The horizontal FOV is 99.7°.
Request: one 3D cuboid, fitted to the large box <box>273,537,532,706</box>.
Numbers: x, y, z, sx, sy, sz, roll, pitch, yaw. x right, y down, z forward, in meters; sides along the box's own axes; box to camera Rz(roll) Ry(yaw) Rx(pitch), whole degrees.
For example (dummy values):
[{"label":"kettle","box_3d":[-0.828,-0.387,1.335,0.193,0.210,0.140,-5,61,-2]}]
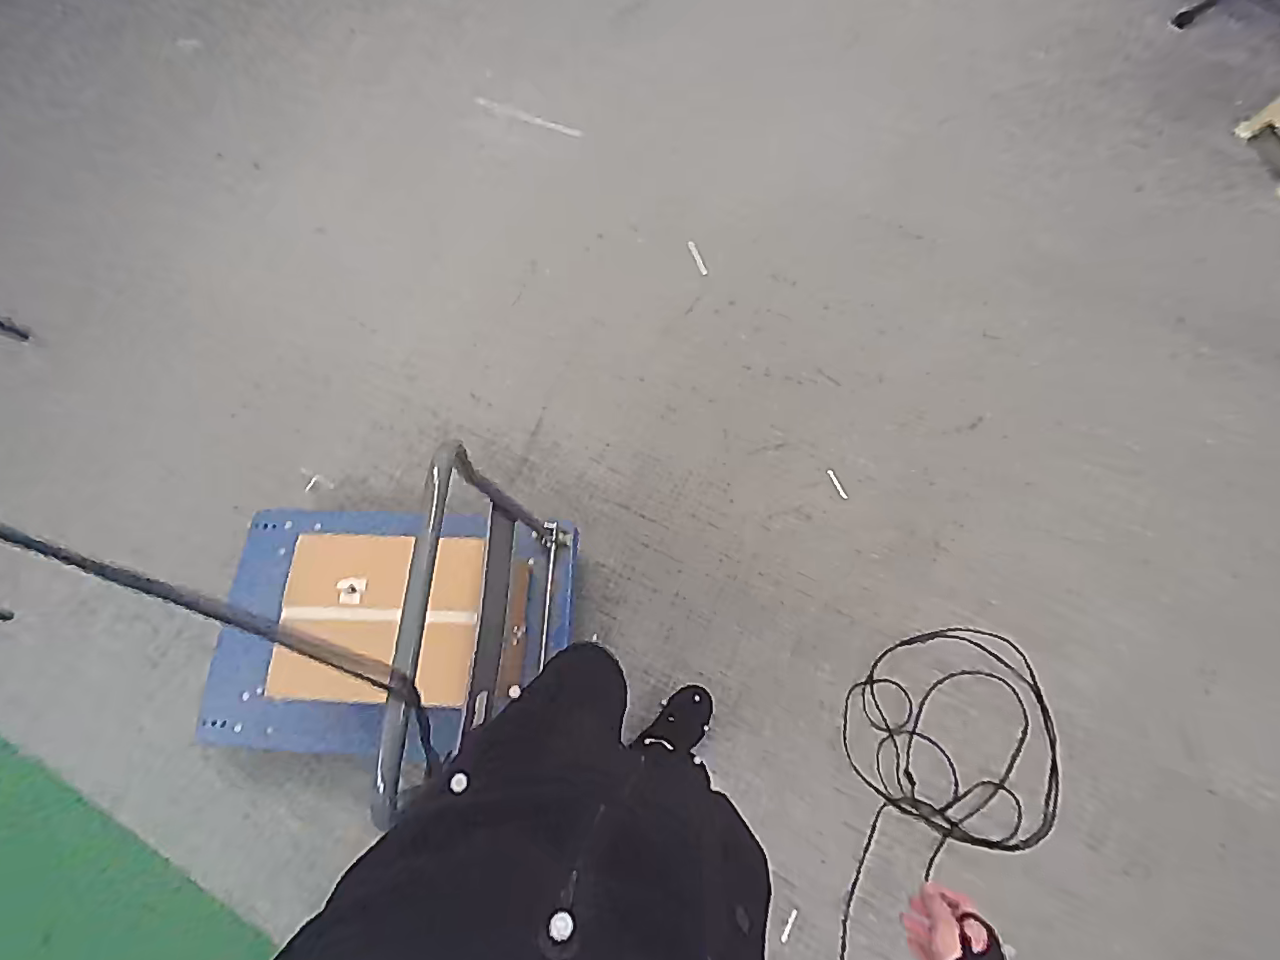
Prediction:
[{"label":"large box","box_3d":[-0.477,0.305,1.181,0.408,0.320,0.320,1,72,5]}]
